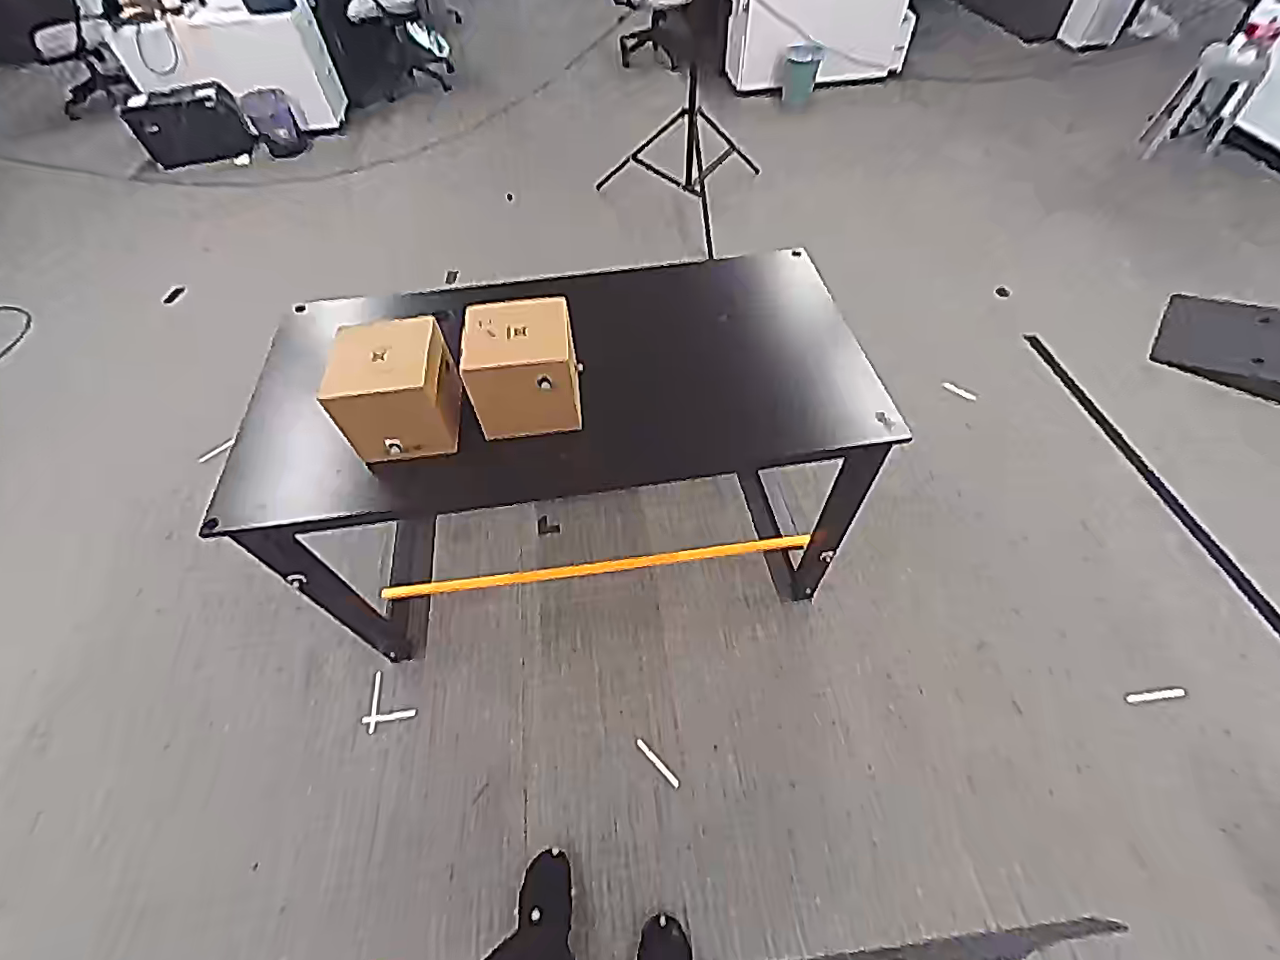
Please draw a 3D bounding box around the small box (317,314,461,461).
[{"bbox_3d":[-0.418,-0.157,0.934,0.168,0.176,0.179,-9,55,-2],"label":"small box"}]
